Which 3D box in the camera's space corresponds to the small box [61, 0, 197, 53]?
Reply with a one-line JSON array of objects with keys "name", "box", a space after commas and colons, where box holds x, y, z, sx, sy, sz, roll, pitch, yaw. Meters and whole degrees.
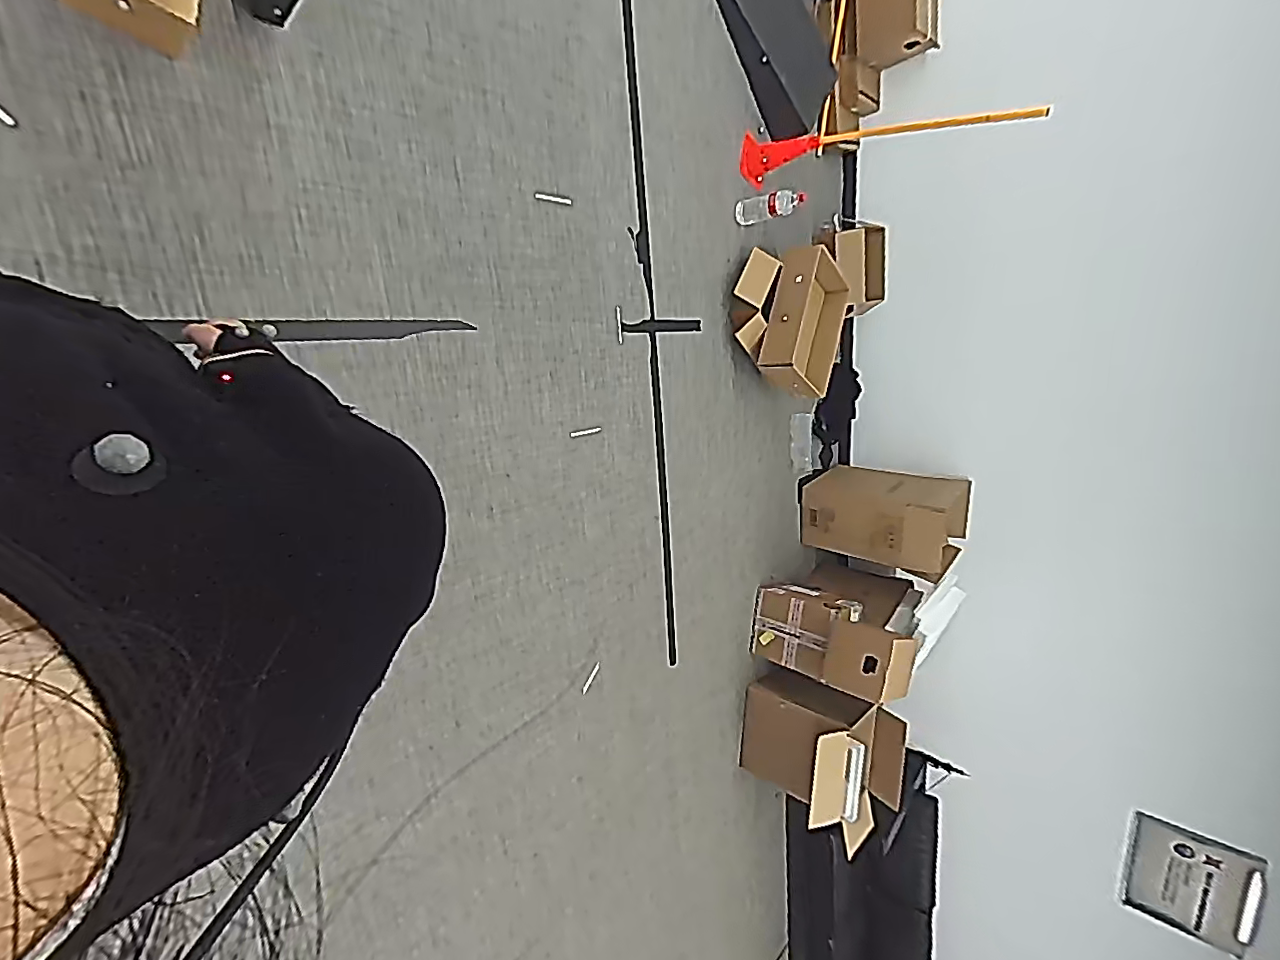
[{"name": "small box", "box": [-0.934, -0.933, 0.988, 0.179, 0.176, 0.168, 6, 93, -47]}]
